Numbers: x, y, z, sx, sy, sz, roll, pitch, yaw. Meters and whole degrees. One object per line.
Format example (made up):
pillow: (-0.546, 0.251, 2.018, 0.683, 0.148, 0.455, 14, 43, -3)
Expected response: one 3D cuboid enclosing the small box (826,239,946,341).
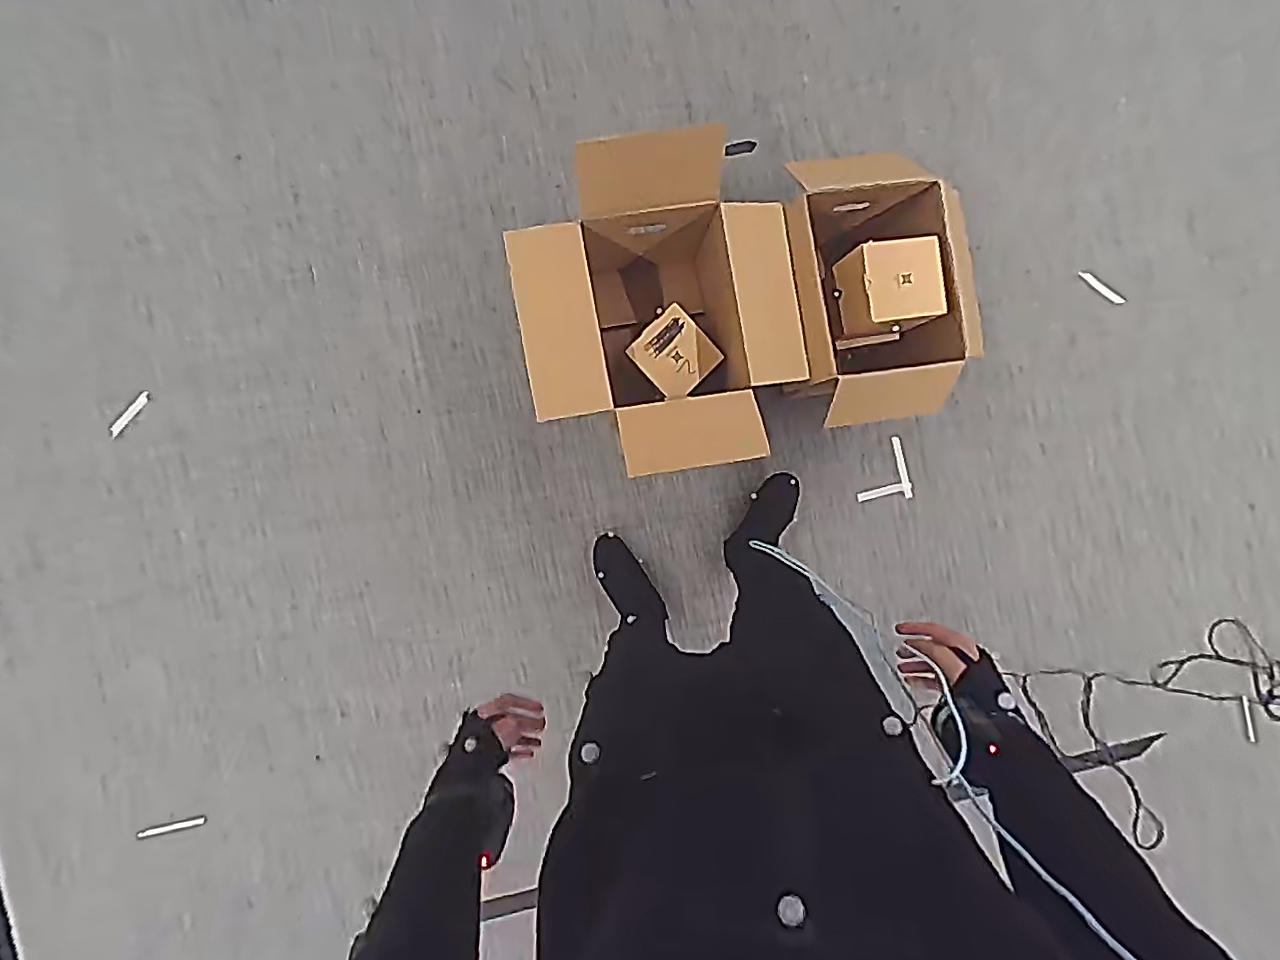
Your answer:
small box: (0.543, -0.418, 1.209, 0.179, 0.176, 0.168, -9, 93, -5)
